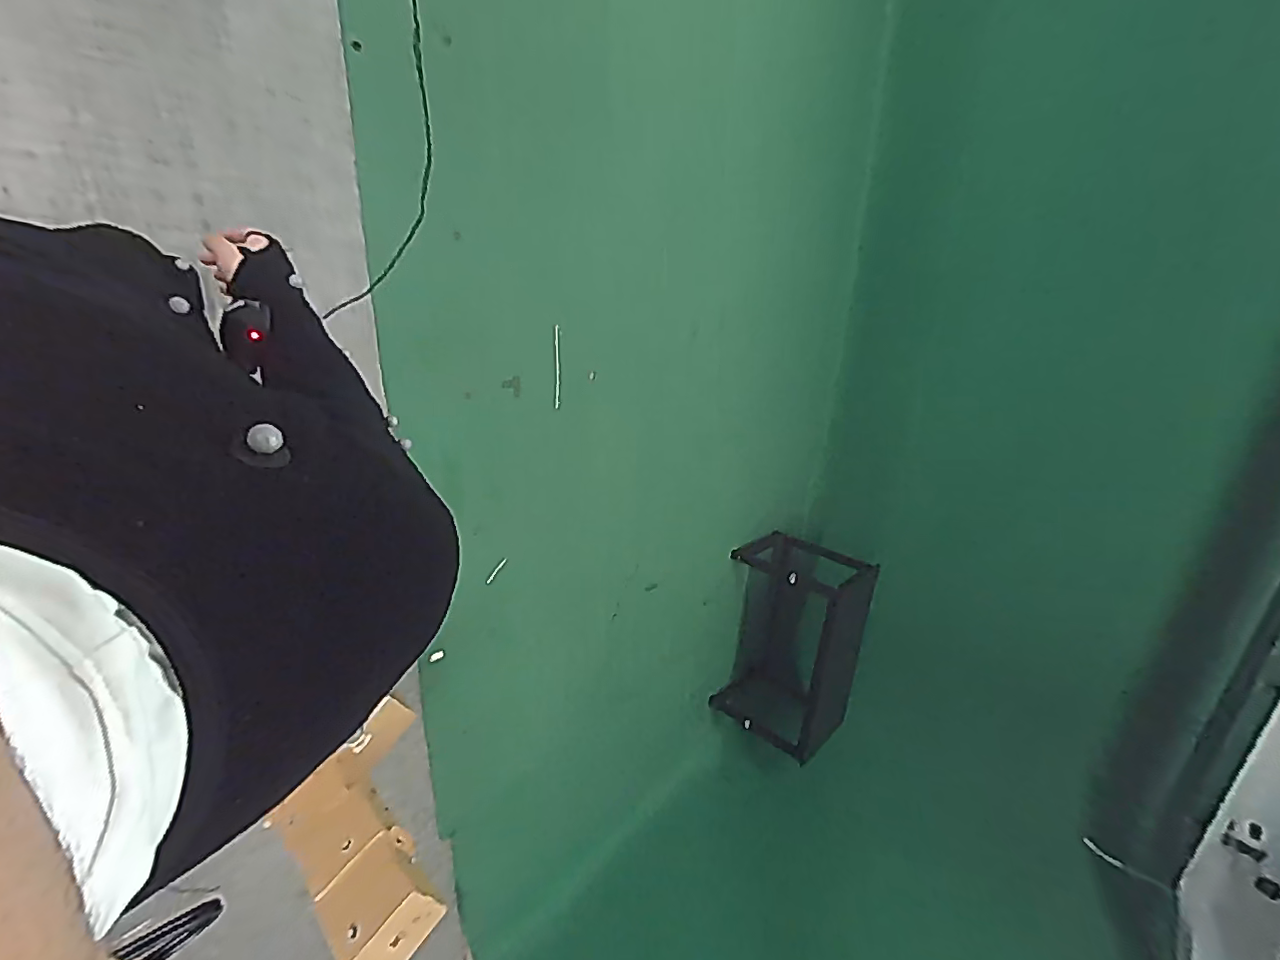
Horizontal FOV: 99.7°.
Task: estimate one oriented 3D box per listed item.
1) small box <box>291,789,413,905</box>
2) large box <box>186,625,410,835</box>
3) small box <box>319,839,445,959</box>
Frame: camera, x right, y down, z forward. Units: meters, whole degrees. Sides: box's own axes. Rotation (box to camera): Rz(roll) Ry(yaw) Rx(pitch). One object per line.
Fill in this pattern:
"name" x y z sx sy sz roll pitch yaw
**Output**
"small box" -0.700 0.900 1.315 0.179 0.176 0.168 -44 134 -29
"large box" -0.976 0.711 1.567 0.408 0.320 0.320 -50 139 -25
"small box" -0.584 0.963 1.214 0.179 0.176 0.168 -44 136 -29
